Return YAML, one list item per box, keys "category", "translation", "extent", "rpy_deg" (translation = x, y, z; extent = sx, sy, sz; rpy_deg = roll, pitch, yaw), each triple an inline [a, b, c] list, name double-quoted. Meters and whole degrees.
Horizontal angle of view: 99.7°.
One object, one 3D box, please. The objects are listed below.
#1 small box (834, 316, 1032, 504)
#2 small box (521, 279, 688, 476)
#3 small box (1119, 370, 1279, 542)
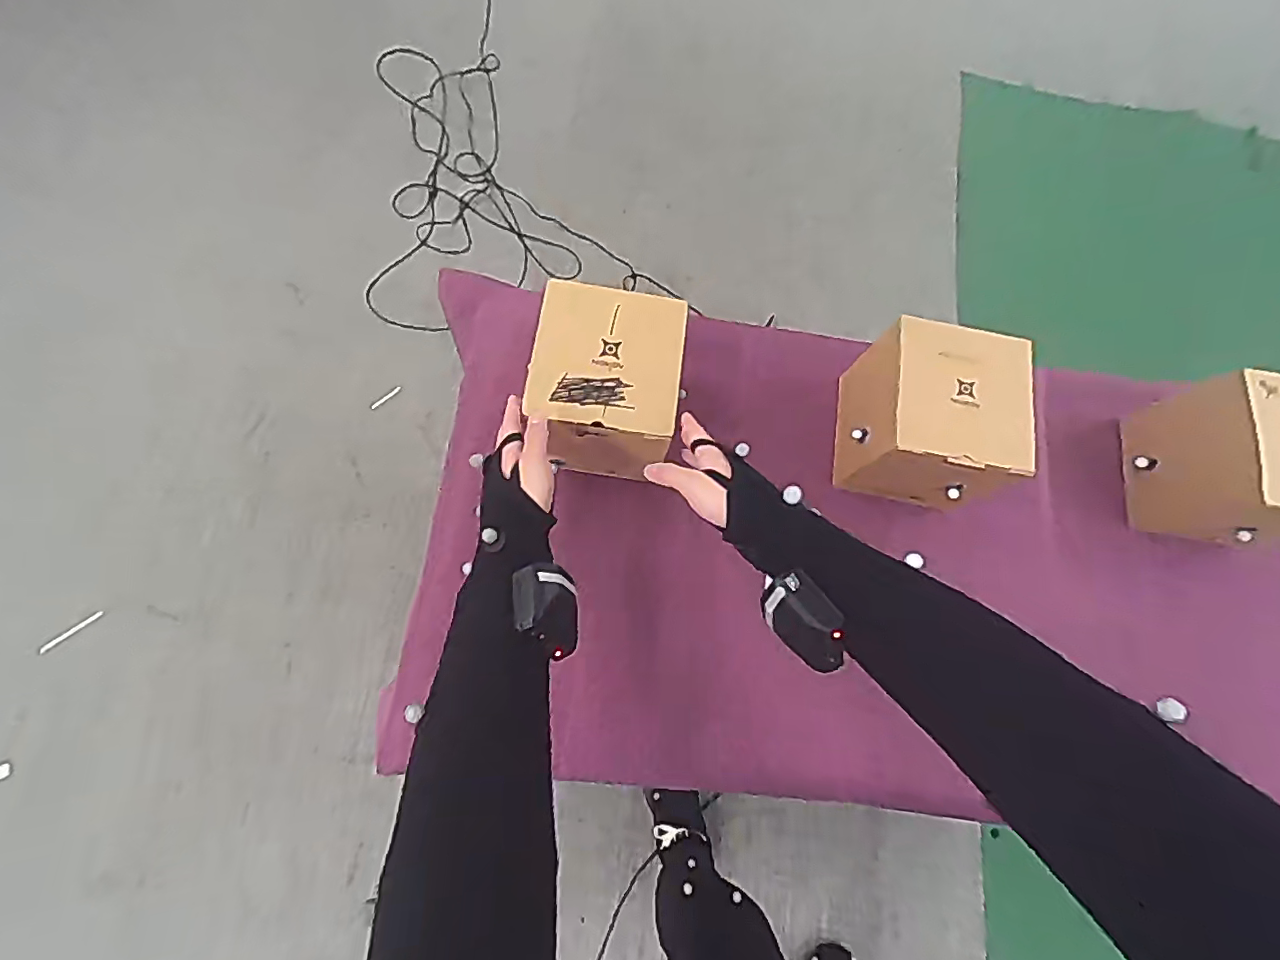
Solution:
- category: "small box"
  translation: [0.367, -0.078, 0.701]
  extent: [0.168, 0.176, 0.179]
  rpy_deg: [11, 73, -2]
- category: "small box"
  translation: [-0.042, -0.115, 0.674]
  extent: [0.168, 0.176, 0.179]
  rpy_deg: [9, 73, -3]
- category: "small box"
  translation: [0.789, -0.020, 0.717]
  extent: [0.168, 0.176, 0.179]
  rpy_deg: [10, 76, -2]
